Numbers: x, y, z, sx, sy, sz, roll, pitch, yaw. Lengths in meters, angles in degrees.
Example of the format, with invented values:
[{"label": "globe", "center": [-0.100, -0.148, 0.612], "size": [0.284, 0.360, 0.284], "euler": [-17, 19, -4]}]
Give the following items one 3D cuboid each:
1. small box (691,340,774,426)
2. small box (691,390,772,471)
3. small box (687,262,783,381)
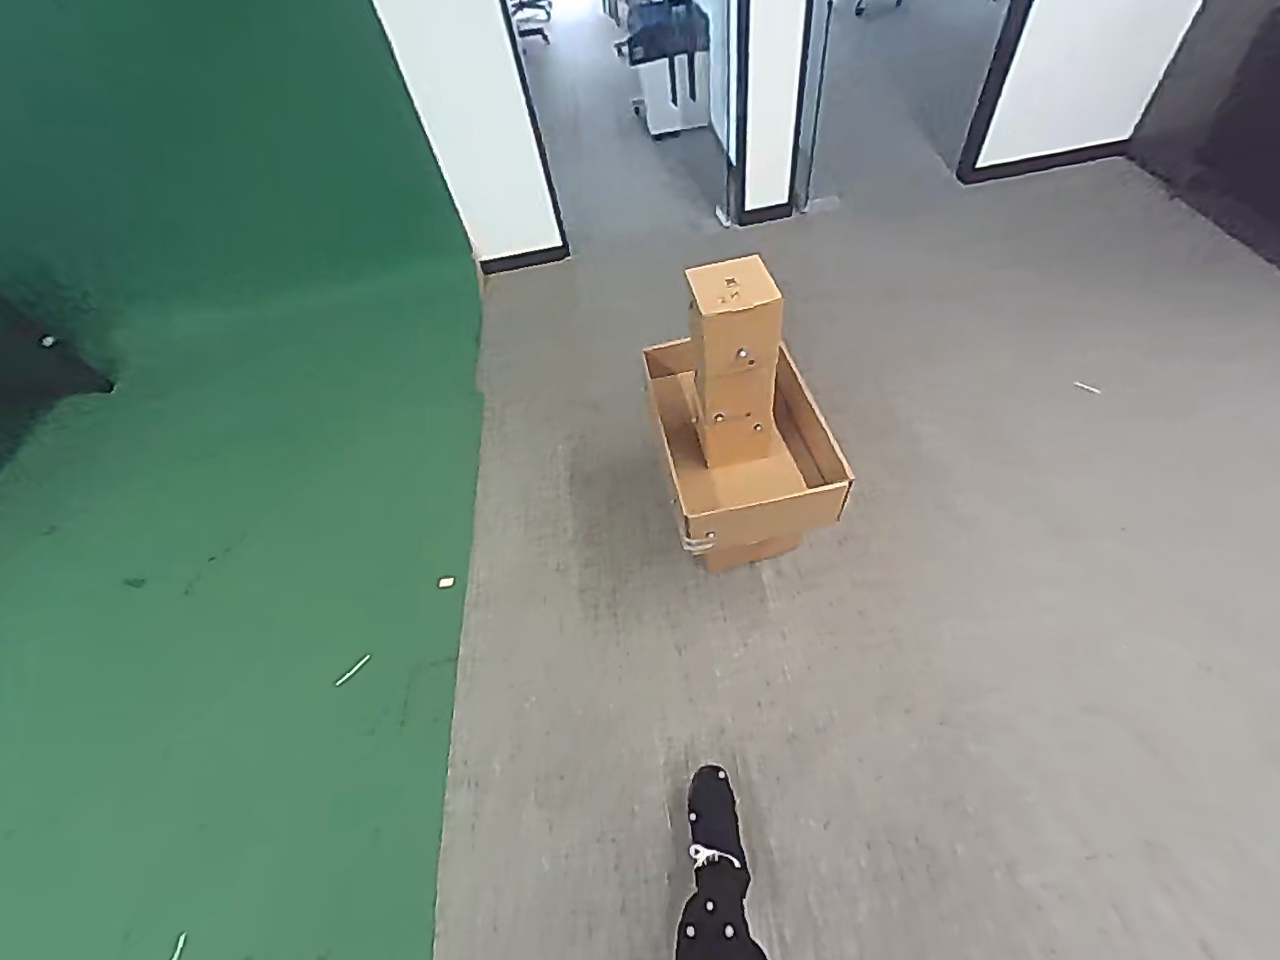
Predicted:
[{"label": "small box", "center": [0.222, -0.247, 1.315], "size": [0.168, 0.176, 0.179], "euler": [-10, 51, 1]}, {"label": "small box", "center": [0.242, -0.143, 1.440], "size": [0.179, 0.176, 0.168], "euler": [-11, 51, 0]}, {"label": "small box", "center": [0.201, -0.346, 1.184], "size": [0.168, 0.176, 0.179], "euler": [-11, 52, 1]}]
